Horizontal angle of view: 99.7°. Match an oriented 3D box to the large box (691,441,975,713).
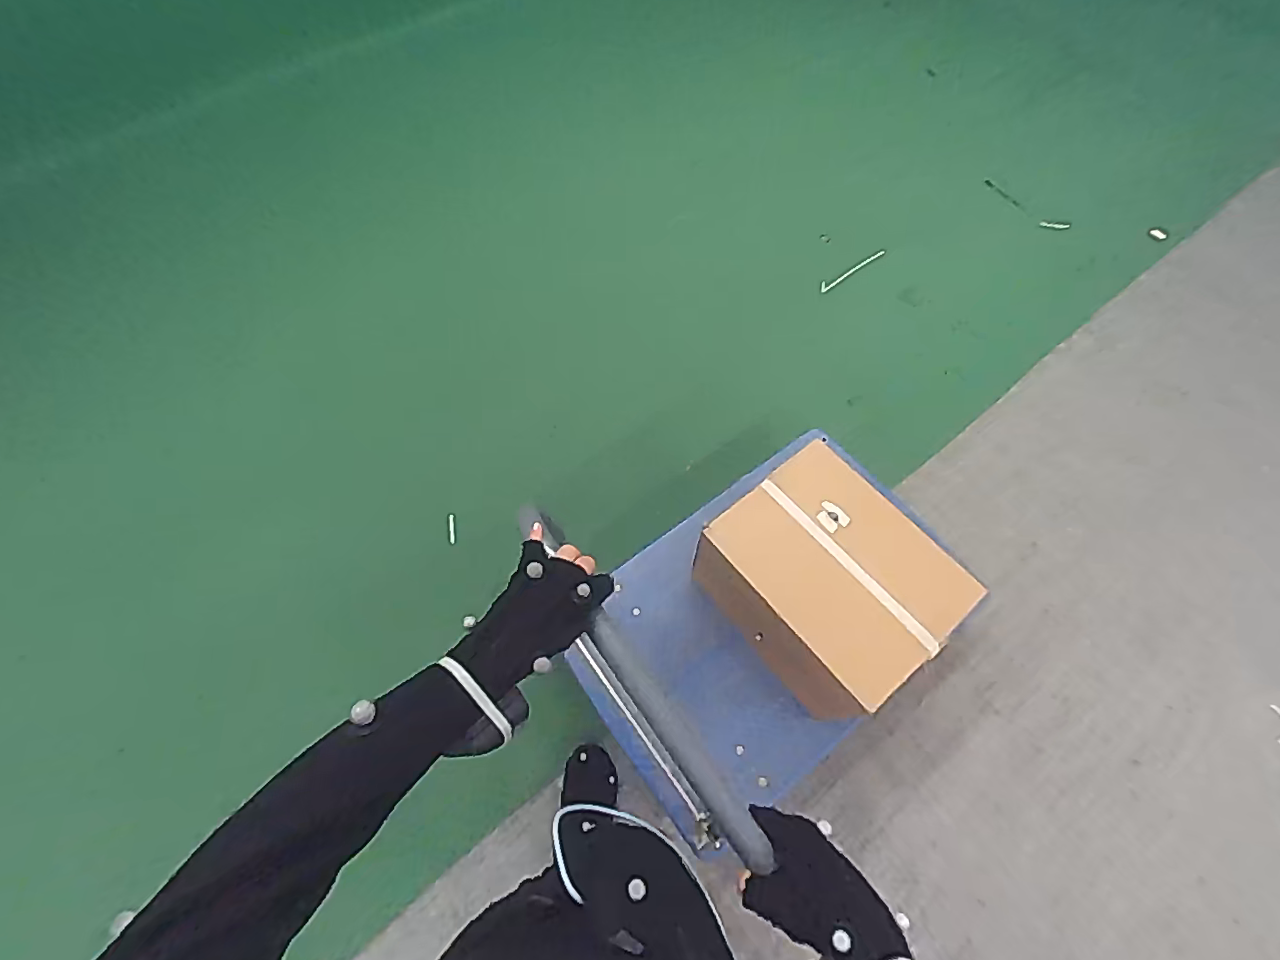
[{"bbox_3d":[0.354,0.206,1.110,0.320,0.320,0.408,-36,68,-16],"label":"large box"}]
